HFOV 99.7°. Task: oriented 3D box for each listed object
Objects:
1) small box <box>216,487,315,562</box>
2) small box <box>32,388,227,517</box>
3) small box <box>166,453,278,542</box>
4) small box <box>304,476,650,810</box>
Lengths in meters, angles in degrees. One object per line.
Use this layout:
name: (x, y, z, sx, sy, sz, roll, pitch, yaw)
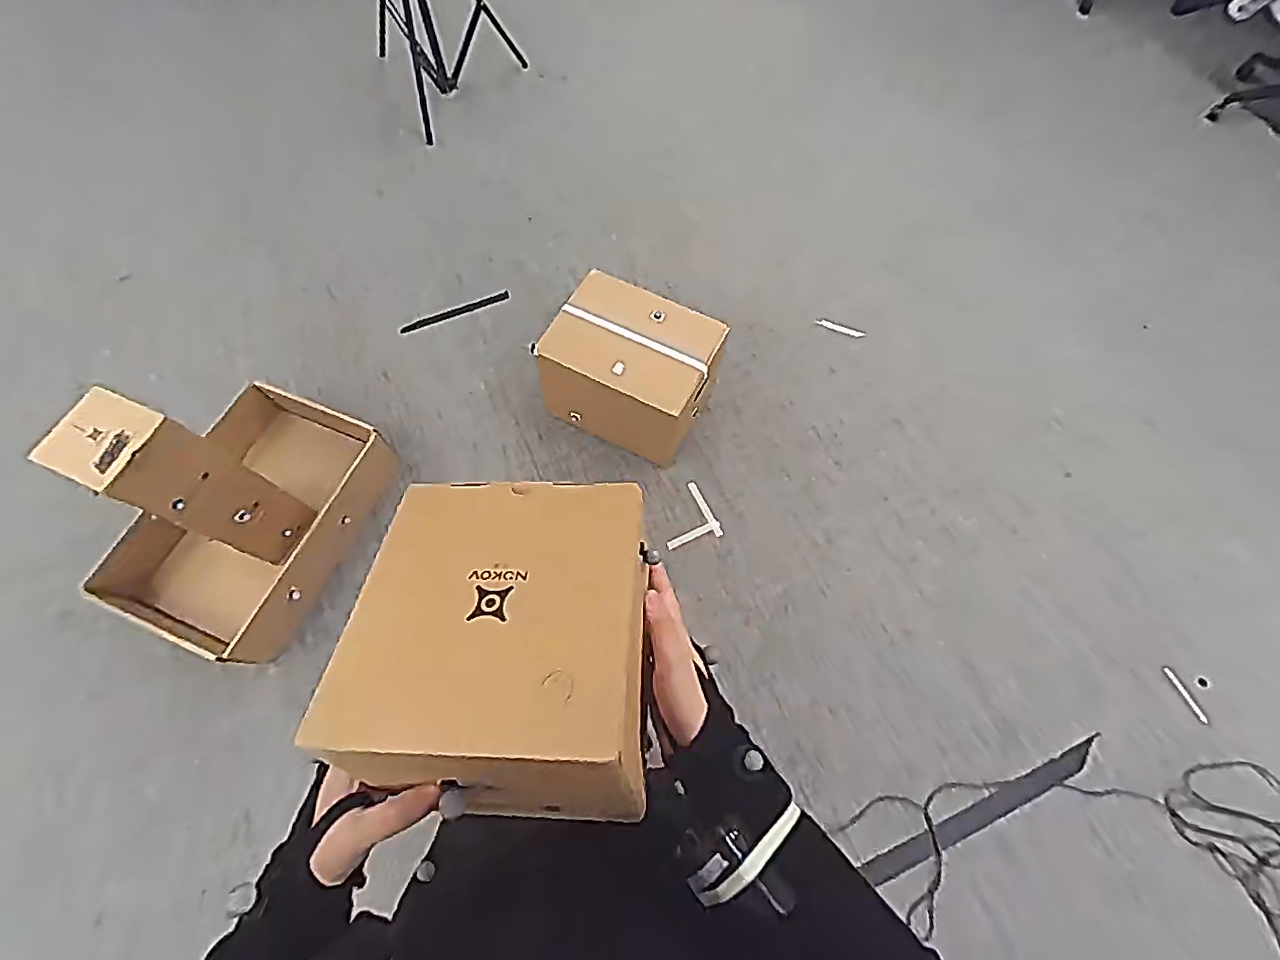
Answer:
small box: (-0.966, 0.085, 1.344, 0.179, 0.176, 0.168, 24, 69, 9)
small box: (-0.966, -0.044, 1.044, 0.179, 0.176, 0.168, 21, 69, 9)
small box: (-0.963, 0.021, 1.195, 0.179, 0.176, 0.168, 23, 69, 7)
small box: (-0.080, 0.117, 0.379, 0.168, 0.176, 0.179, -1, 48, 4)
